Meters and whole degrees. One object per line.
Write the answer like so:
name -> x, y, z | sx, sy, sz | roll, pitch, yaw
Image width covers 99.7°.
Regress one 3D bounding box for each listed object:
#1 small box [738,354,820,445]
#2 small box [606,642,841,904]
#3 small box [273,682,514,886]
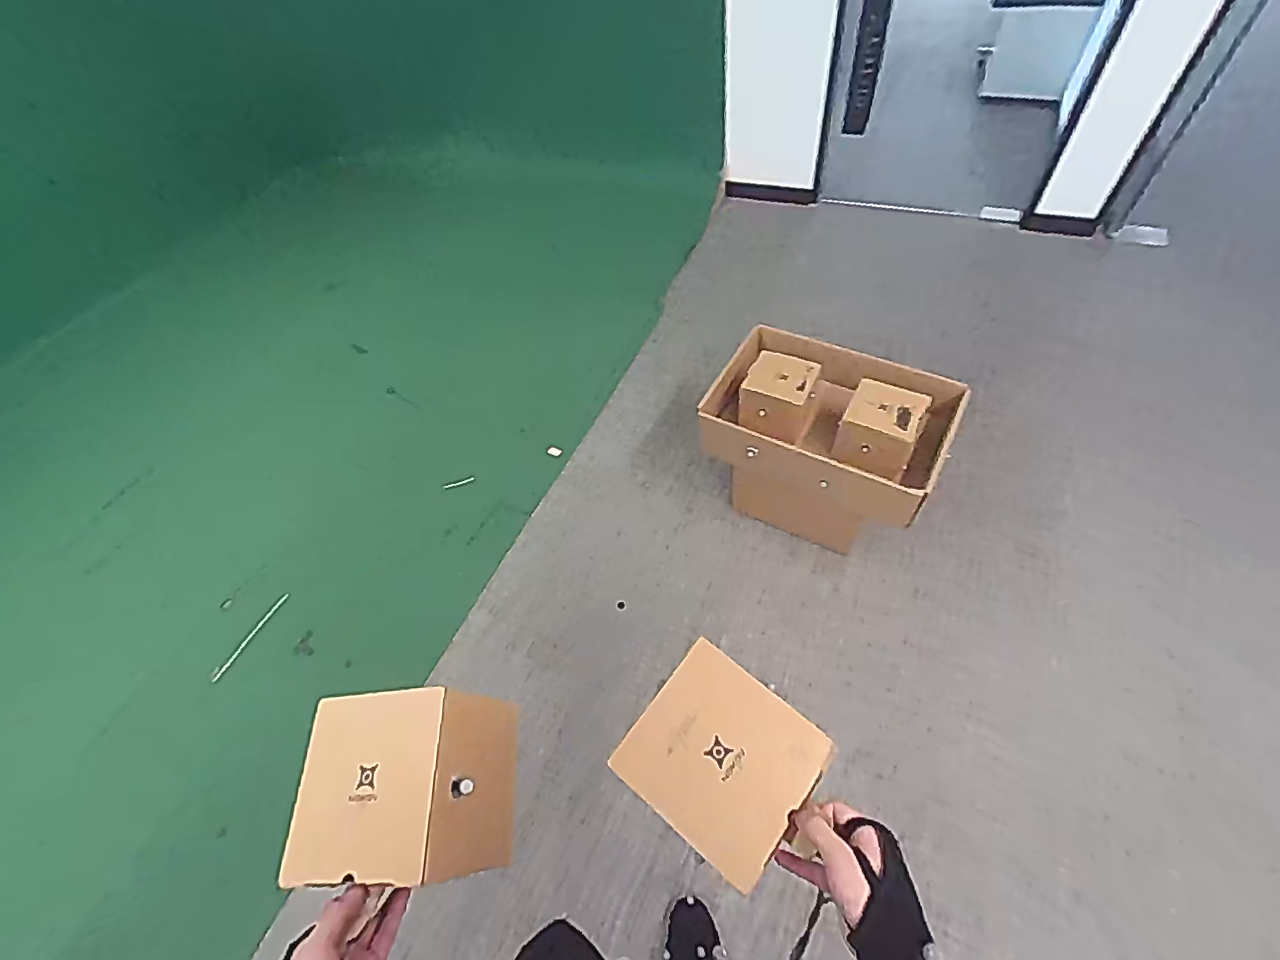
small box -> 0.387, -0.225, 1.533 | 0.179, 0.176, 0.168 | 21, 61, 22
small box -> 0.087, 0.311, 0.607 | 0.179, 0.176, 0.168 | 37, 71, 20
small box -> -0.255, 0.336, 0.609 | 0.168, 0.176, 0.179 | -10, 60, 13
